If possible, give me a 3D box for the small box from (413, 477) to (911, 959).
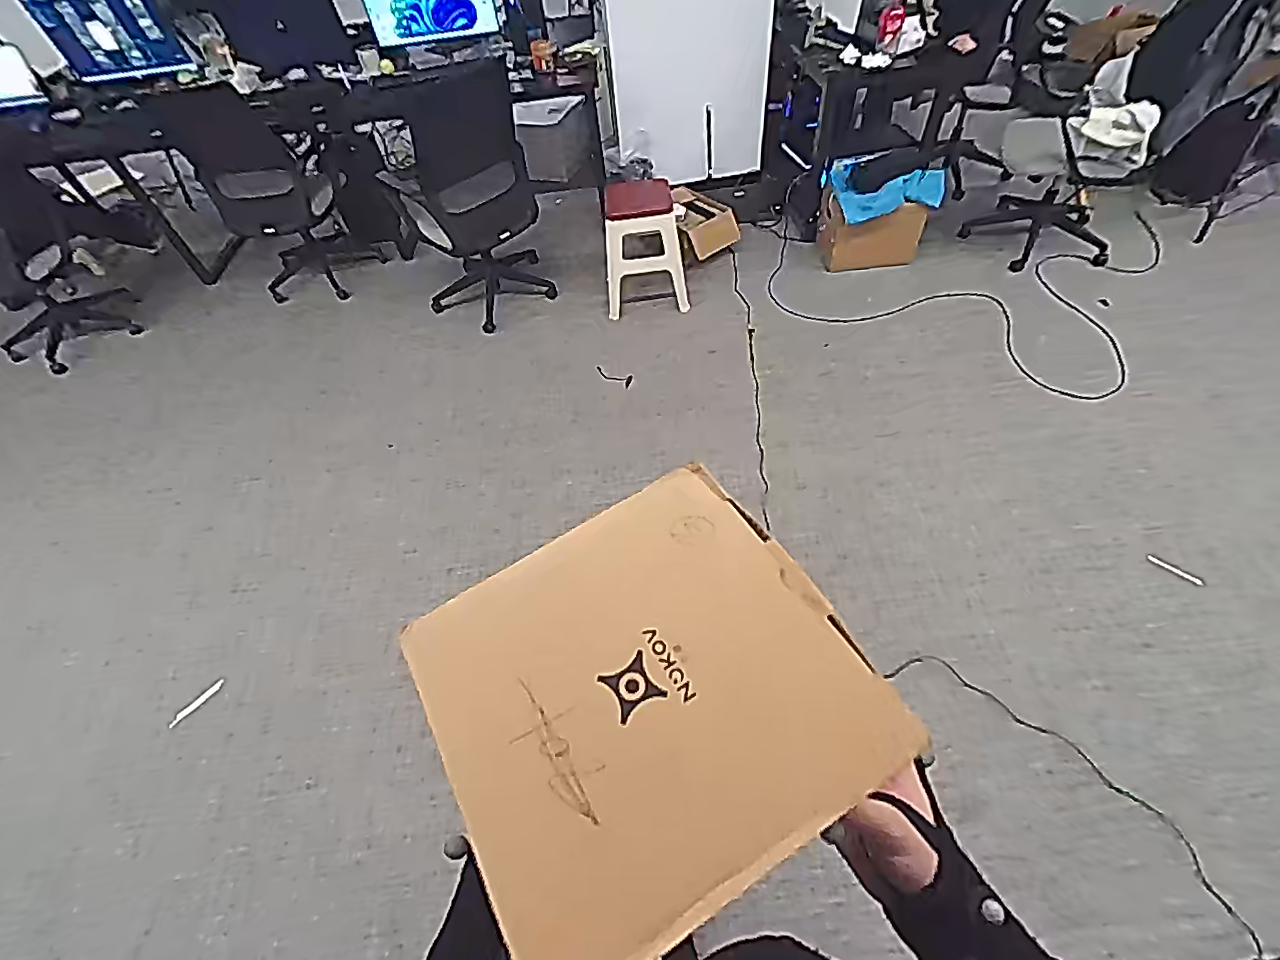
[{"bbox_3d":[0.009,0.136,0.314,0.179,0.176,0.168,-31,59,-11],"label":"small box"}]
